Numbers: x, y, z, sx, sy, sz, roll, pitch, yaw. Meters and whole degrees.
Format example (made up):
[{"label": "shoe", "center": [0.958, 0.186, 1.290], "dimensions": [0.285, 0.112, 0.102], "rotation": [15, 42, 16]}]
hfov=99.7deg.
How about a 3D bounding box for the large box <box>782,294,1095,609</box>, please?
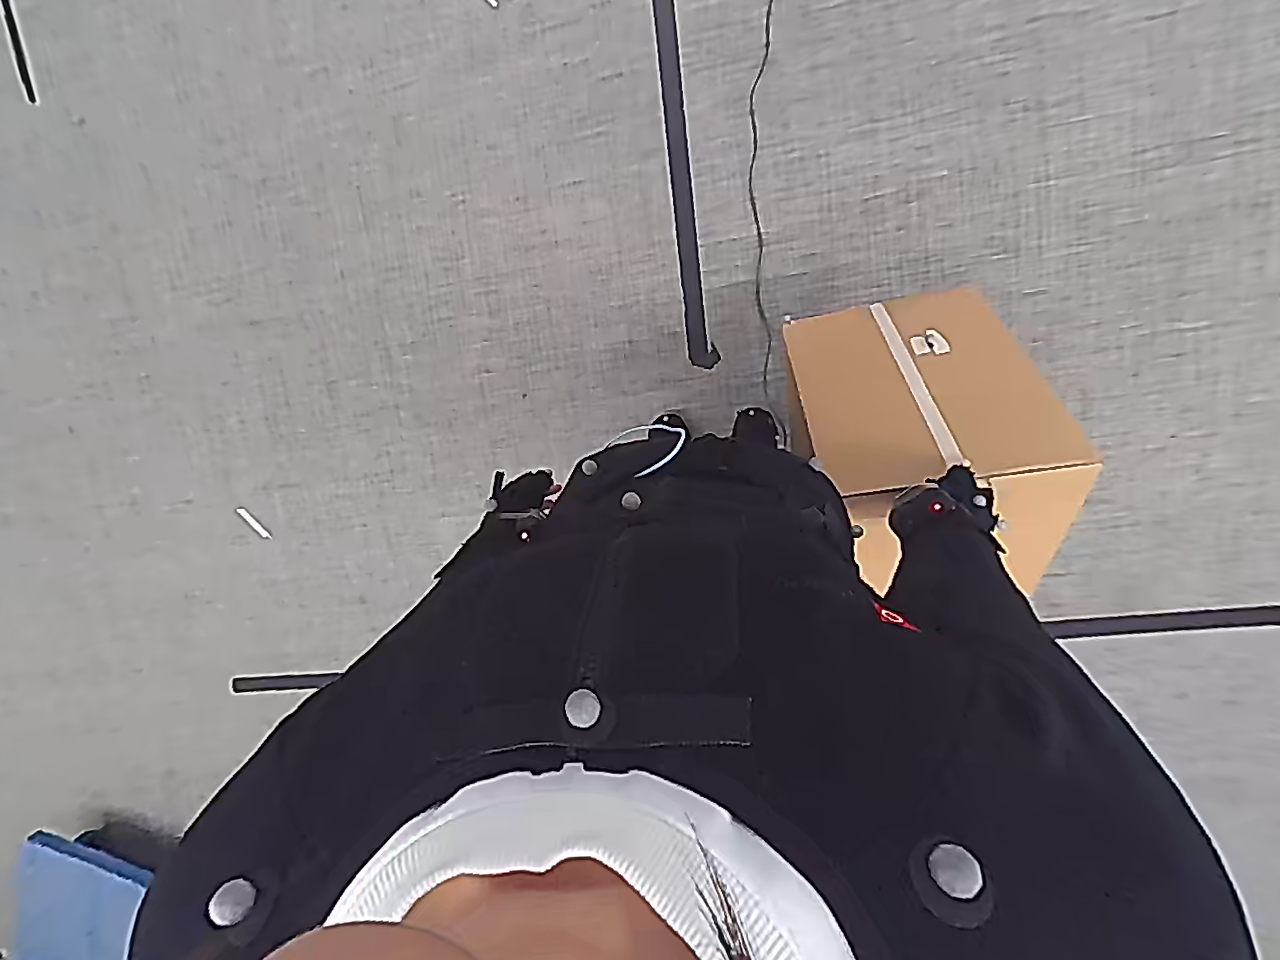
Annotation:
[{"label": "large box", "center": [0.439, -0.047, 0.910], "dimensions": [0.320, 0.408, 0.320], "rotation": [-8, 136, 10]}]
